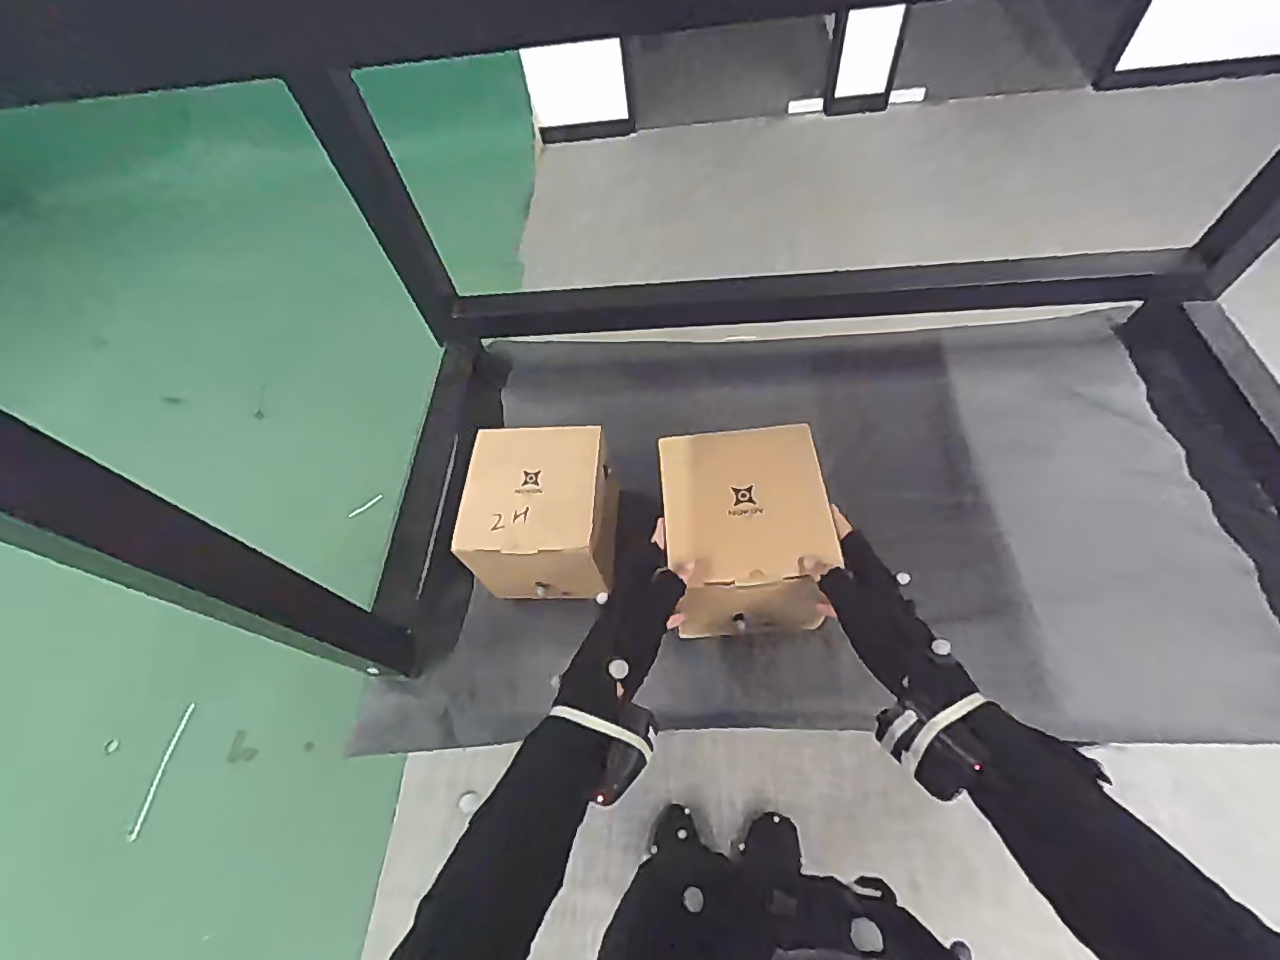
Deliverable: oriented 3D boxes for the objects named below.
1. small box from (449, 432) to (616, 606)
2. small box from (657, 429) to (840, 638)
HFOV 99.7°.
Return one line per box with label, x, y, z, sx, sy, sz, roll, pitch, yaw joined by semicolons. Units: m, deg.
small box;-0.127;0.055;0.724;0.168;0.176;0.179;-2;58;7
small box;0.110;0.066;0.617;0.168;0.176;0.179;-6;58;4
